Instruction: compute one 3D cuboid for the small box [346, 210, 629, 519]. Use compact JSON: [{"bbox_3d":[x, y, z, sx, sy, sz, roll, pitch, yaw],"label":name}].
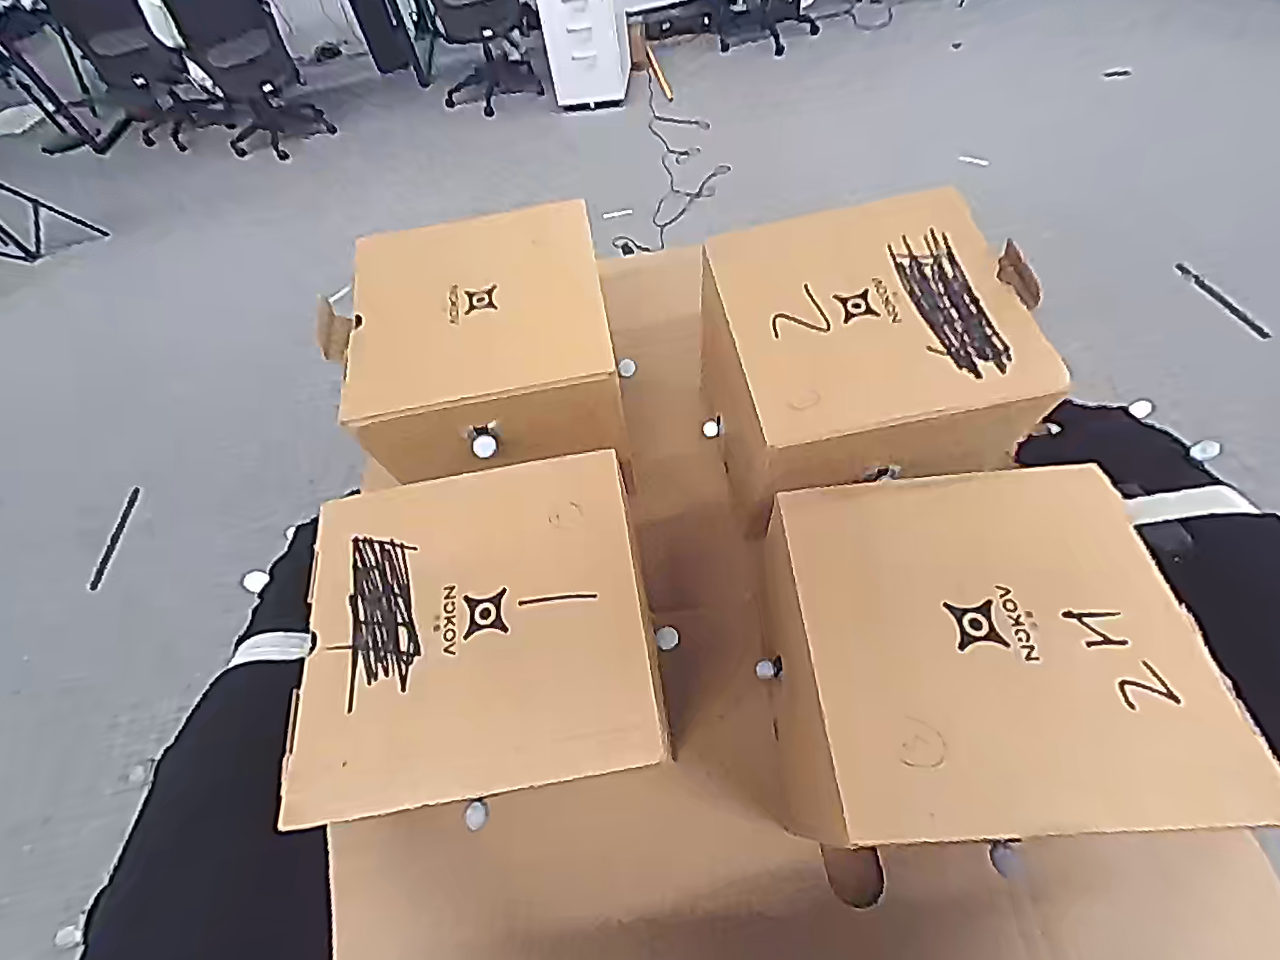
[{"bbox_3d":[-0.107,-0.084,0.448,0.179,0.176,0.168,-11,62,1],"label":"small box"}]
